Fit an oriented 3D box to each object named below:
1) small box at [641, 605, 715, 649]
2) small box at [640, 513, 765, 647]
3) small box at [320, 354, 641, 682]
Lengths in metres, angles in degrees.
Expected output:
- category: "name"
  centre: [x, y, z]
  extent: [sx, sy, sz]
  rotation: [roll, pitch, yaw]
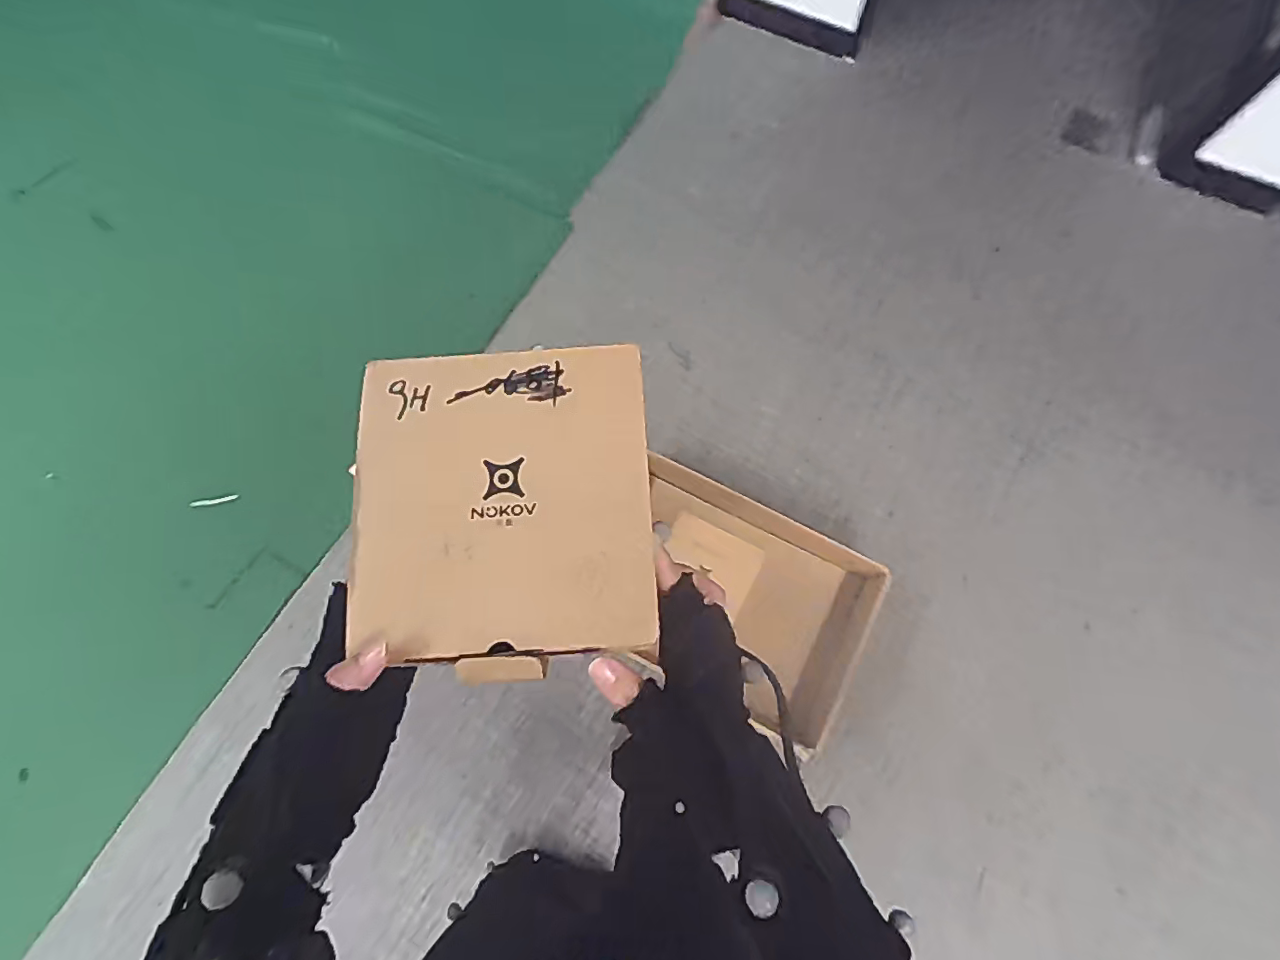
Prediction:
- category: "small box"
  centre: [0.104, 0.240, 1.144]
  extent: [0.179, 0.176, 0.168]
  rotation: [25, 76, 10]
- category: "small box"
  centre: [0.106, 0.188, 0.991]
  extent: [0.168, 0.176, 0.179]
  rotation: [27, 75, 8]
- category: "small box"
  centre: [-0.086, 0.033, 0.374]
  extent: [0.168, 0.176, 0.179]
  rotation: [-3, 77, 1]
